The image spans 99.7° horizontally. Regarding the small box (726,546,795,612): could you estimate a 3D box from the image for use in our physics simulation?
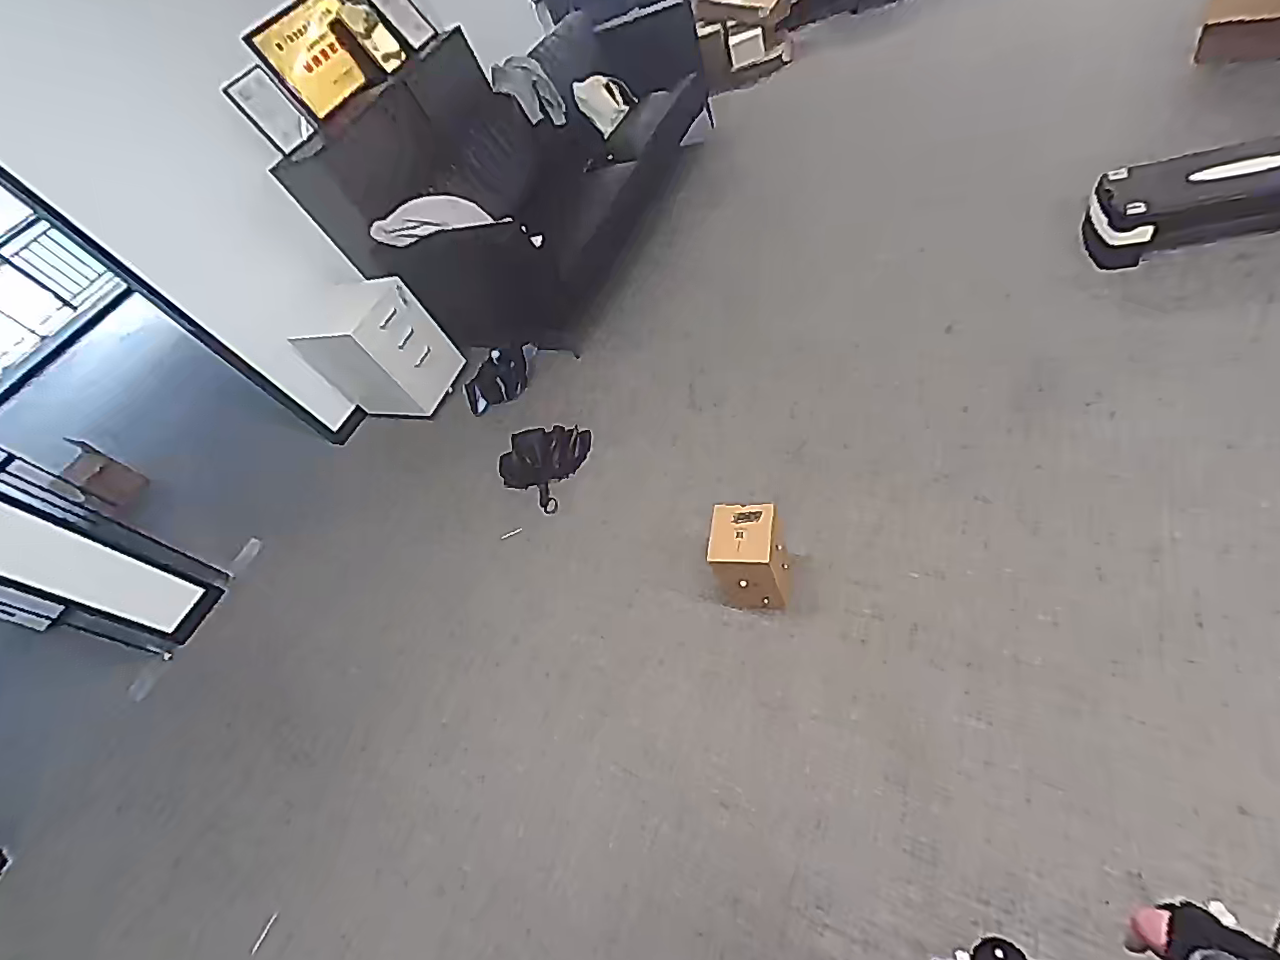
[{"bbox_3d":[0.363,0.280,1.605,0.168,0.176,0.179,-3,53,24],"label":"small box"}]

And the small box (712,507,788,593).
[{"bbox_3d":[0.307,0.190,1.479,0.168,0.176,0.179,-2,56,25],"label":"small box"}]
